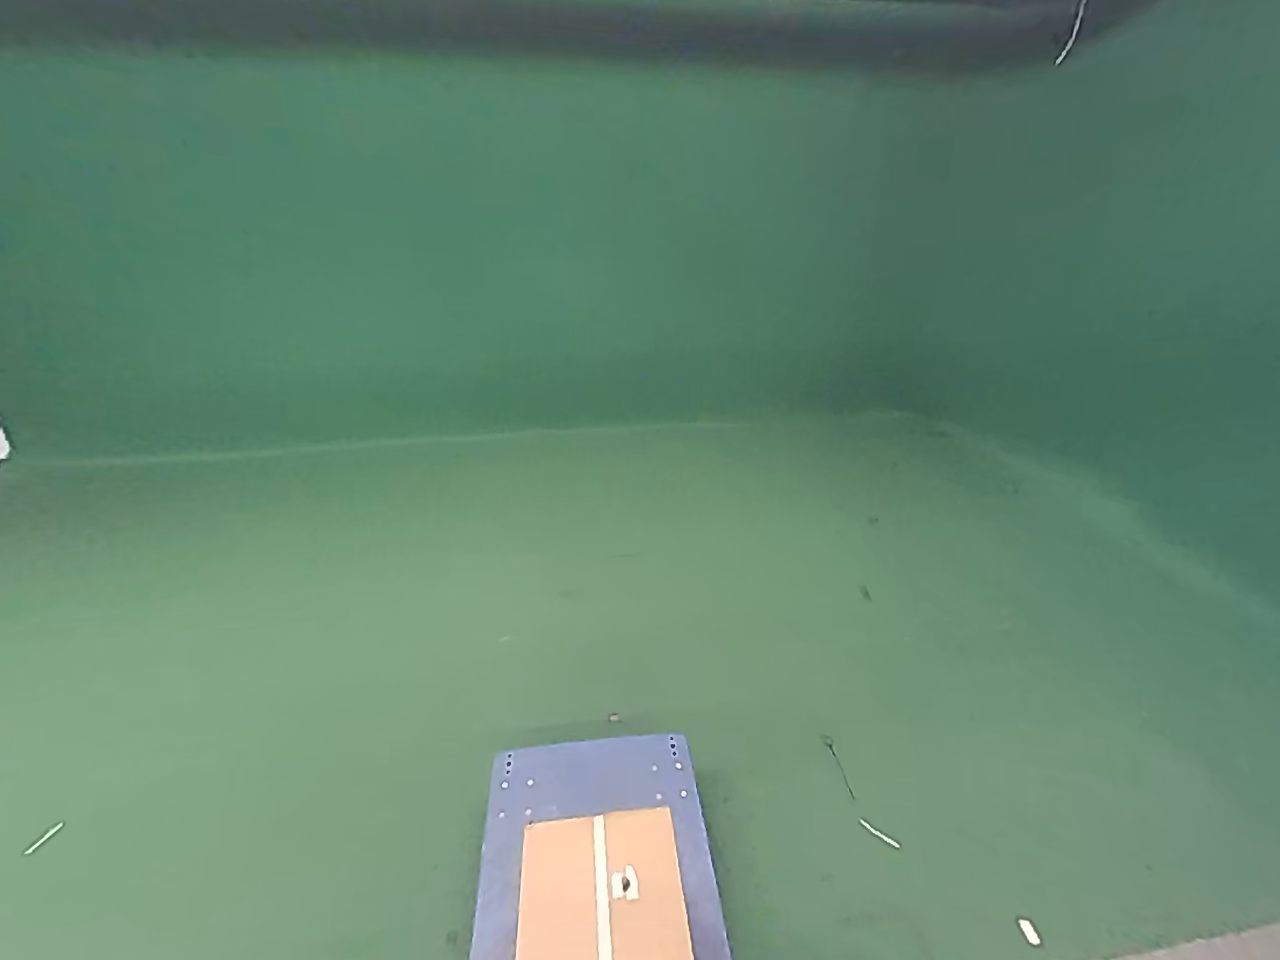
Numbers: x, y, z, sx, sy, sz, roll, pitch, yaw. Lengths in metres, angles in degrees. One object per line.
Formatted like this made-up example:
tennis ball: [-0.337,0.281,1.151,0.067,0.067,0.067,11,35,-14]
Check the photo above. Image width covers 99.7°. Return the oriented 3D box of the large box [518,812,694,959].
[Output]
large box: [-0.063,0.958,1.064,0.320,0.320,0.408,-3,30,-5]
